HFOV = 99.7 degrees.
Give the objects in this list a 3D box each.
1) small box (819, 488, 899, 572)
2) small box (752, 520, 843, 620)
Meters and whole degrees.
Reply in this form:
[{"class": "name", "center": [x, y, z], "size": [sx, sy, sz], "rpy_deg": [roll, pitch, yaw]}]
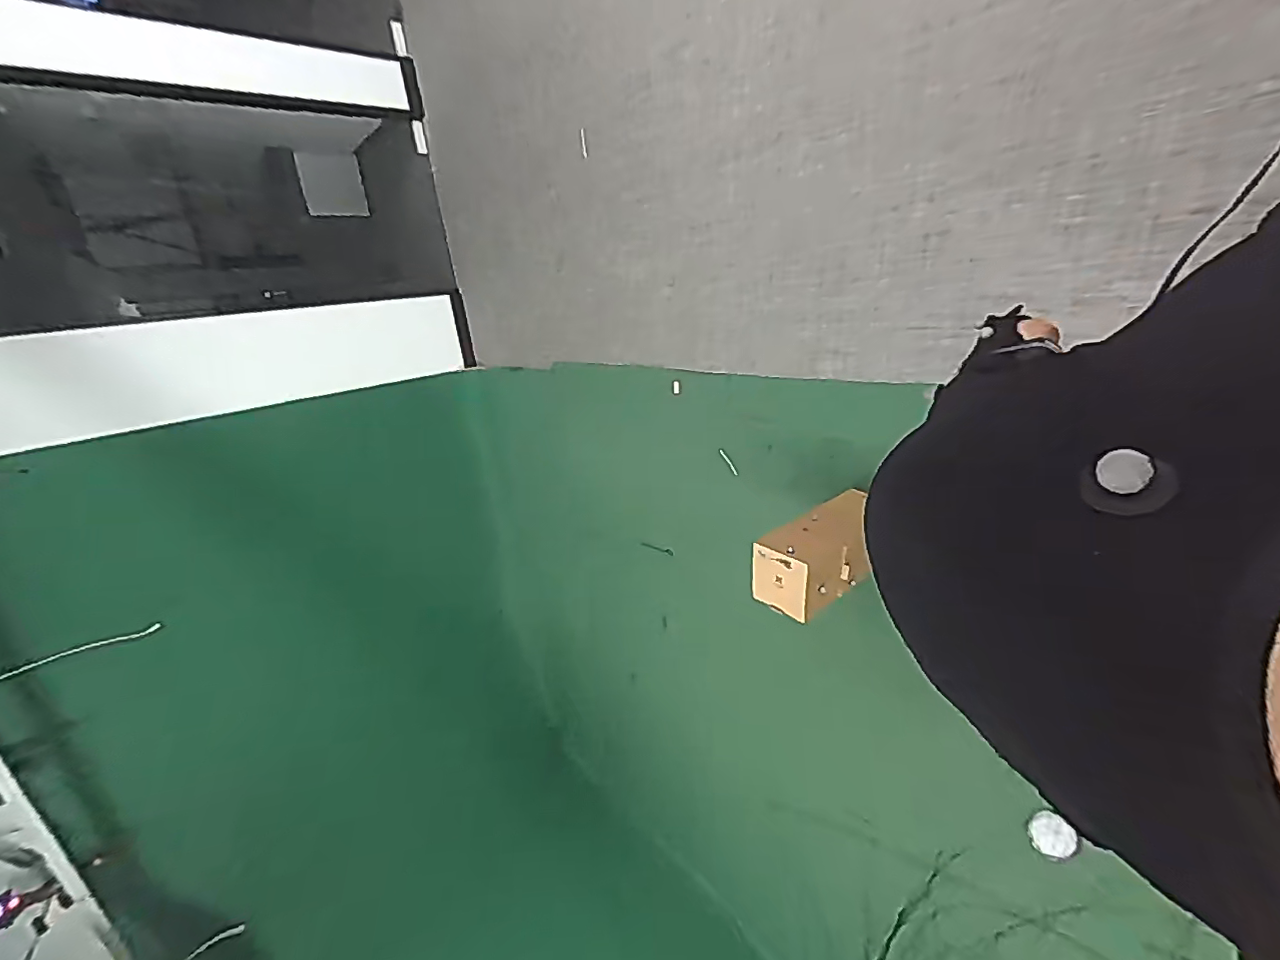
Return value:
[{"class": "small box", "center": [0.657, 0.143, 1.633], "size": [0.168, 0.176, 0.179], "rpy_deg": [25, 125, 43]}, {"class": "small box", "center": [0.415, 0.231, 1.427], "size": [0.168, 0.176, 0.179], "rpy_deg": [22, 124, 46]}]
